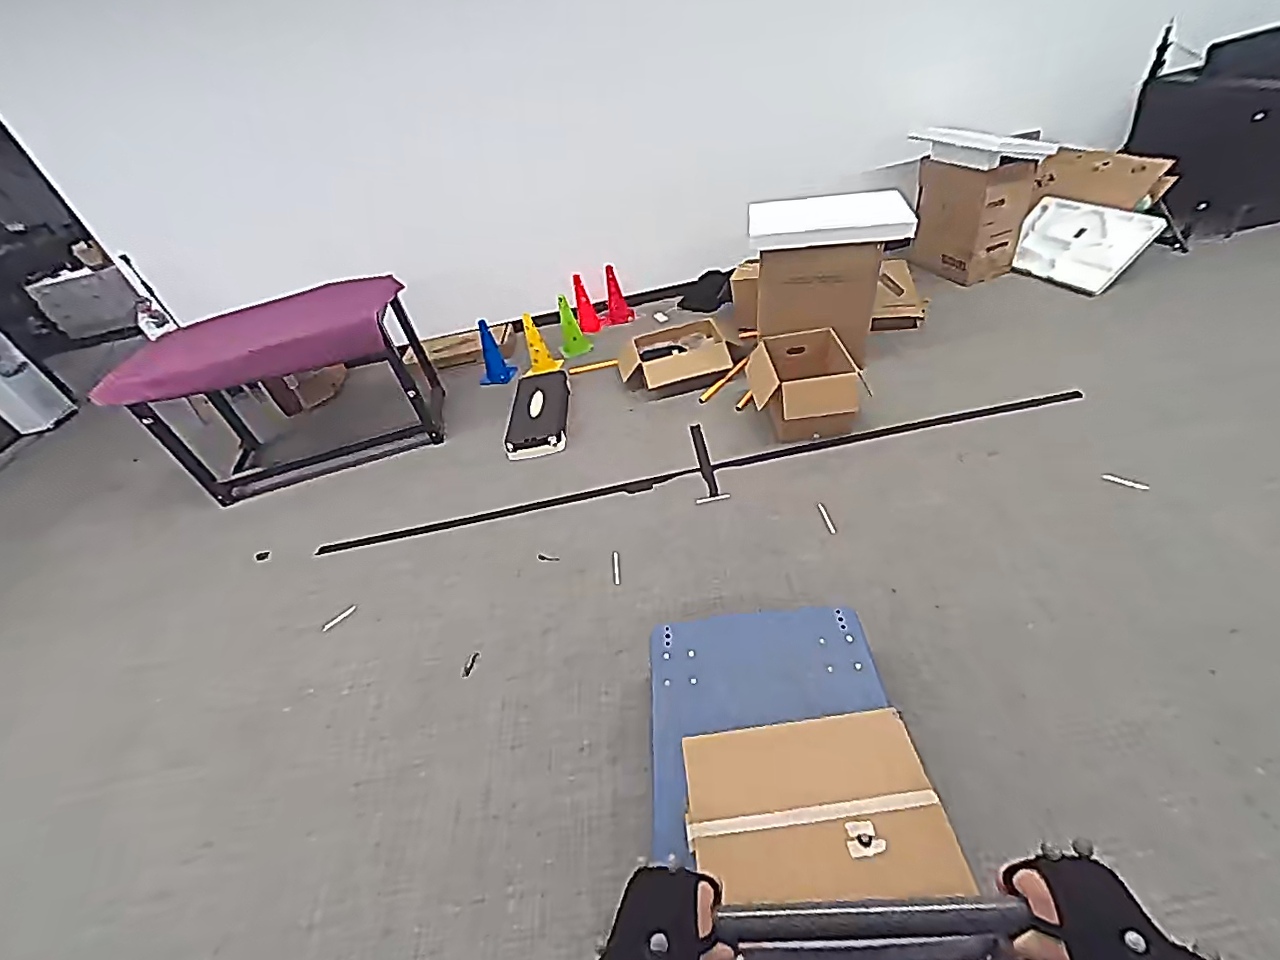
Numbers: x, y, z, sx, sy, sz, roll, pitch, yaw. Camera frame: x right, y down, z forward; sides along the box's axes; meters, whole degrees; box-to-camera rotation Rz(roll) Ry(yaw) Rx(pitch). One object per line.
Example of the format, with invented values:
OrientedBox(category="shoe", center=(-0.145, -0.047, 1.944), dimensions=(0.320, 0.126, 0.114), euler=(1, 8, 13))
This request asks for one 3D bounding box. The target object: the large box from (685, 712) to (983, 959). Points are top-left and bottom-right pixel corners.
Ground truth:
OrientedBox(category="large box", center=(0.312, 0.674, 0.991), dimensions=(0.408, 0.320, 0.320), euler=(-9, 40, 3))
